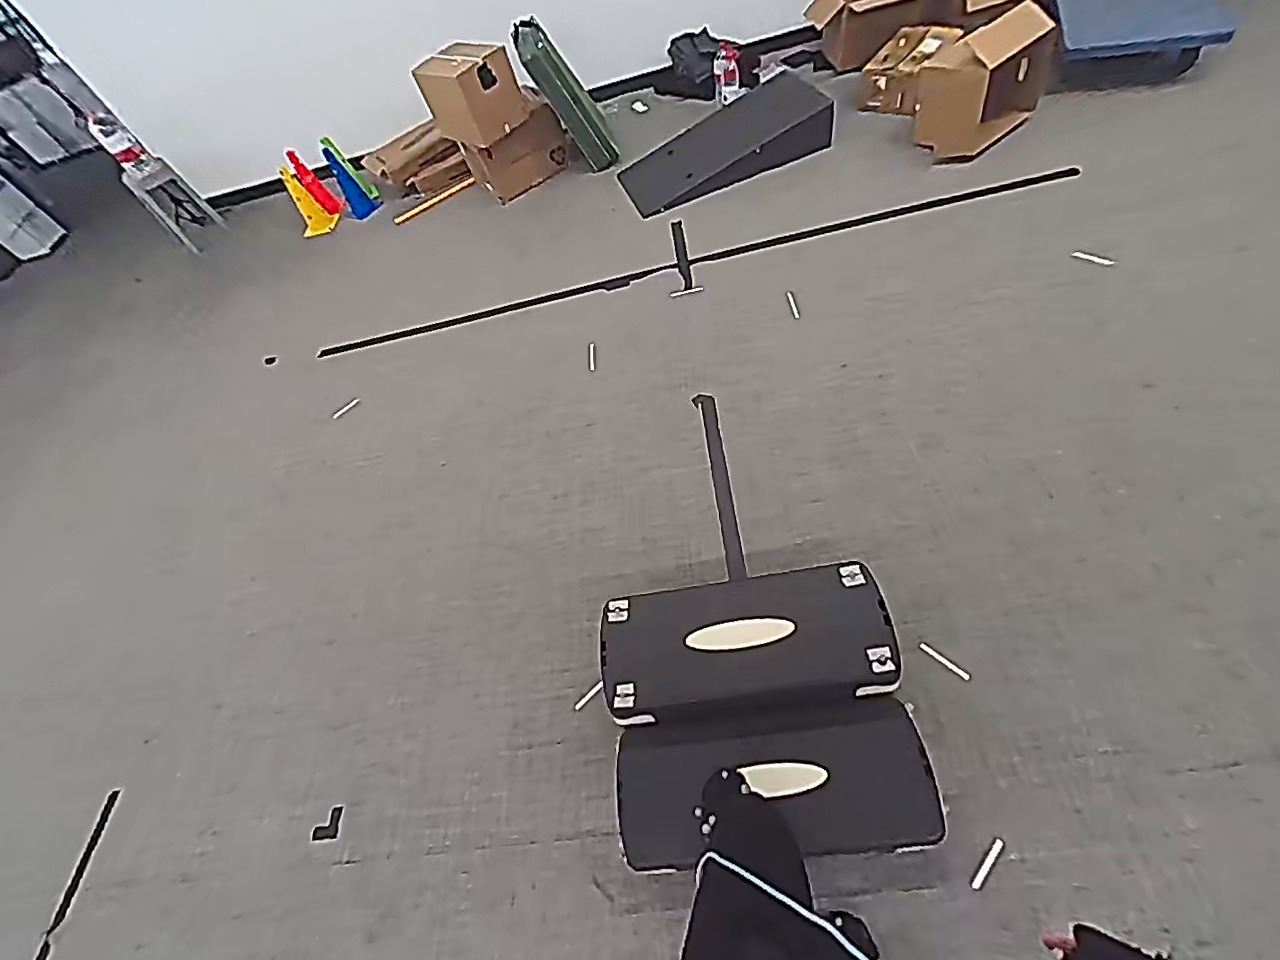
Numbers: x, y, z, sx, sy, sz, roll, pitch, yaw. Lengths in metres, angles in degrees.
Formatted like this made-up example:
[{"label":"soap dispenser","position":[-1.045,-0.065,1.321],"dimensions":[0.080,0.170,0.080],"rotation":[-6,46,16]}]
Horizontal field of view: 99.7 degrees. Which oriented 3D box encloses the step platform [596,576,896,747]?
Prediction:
[{"label":"step platform","position":[0.236,0.437,1.302],"dimensions":[0.684,0.204,0.286],"rotation":[-11,55,6]}]
